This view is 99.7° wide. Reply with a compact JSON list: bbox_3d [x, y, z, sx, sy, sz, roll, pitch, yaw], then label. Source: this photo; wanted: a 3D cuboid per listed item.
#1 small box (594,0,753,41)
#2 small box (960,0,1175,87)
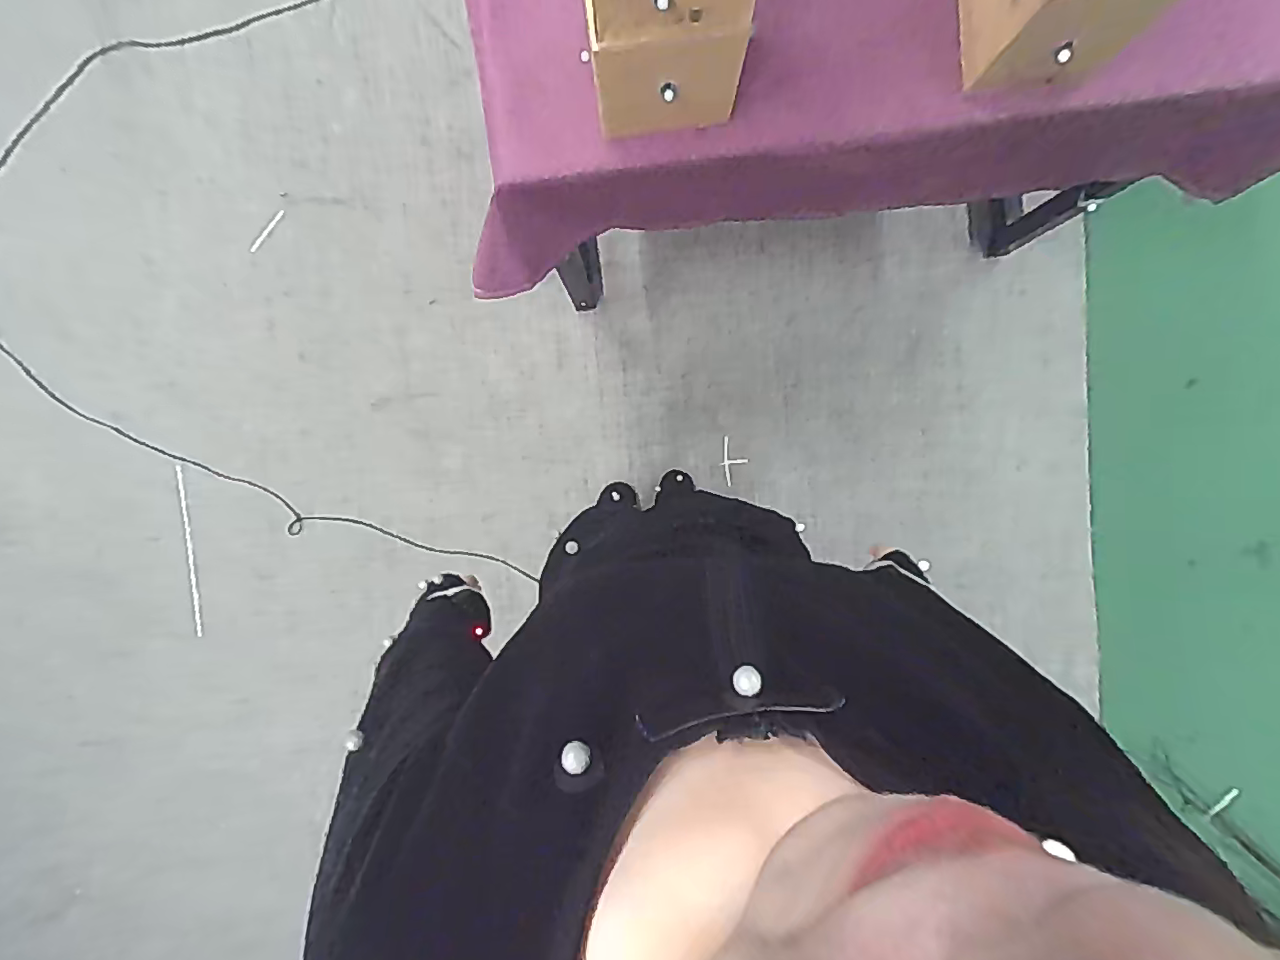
[{"bbox_3d":[0.027,-0.560,0.494,0.168,0.176,0.179,-7,93,1],"label":"small box"},{"bbox_3d":[0.515,-0.611,0.654,0.168,0.176,0.179,-4,93,0],"label":"small box"}]
